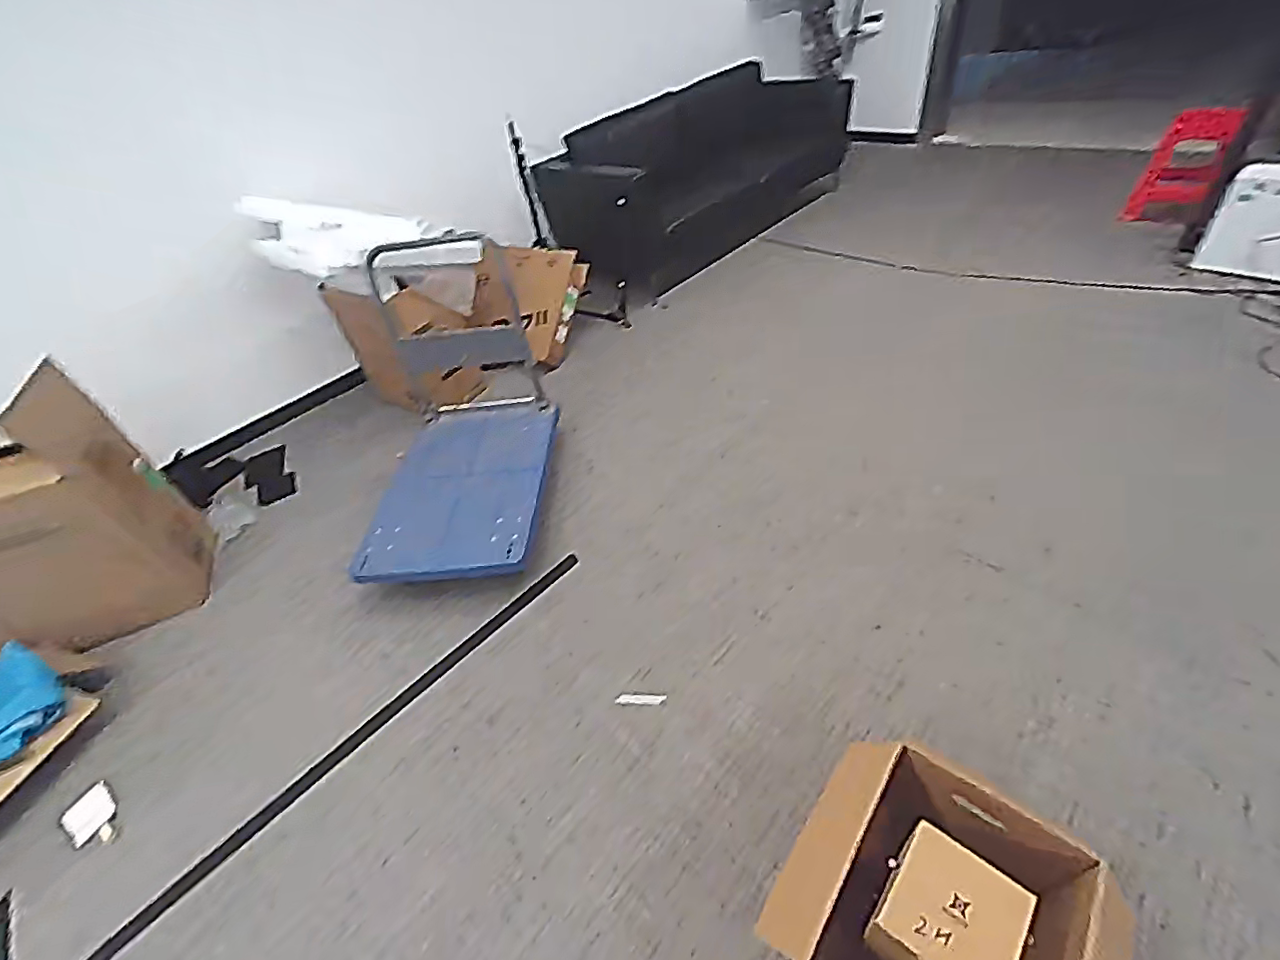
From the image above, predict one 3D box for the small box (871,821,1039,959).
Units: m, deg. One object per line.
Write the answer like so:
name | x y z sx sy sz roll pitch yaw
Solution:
small box | 0.482 0.690 0.848 0.168 0.176 0.179 26 55 34
